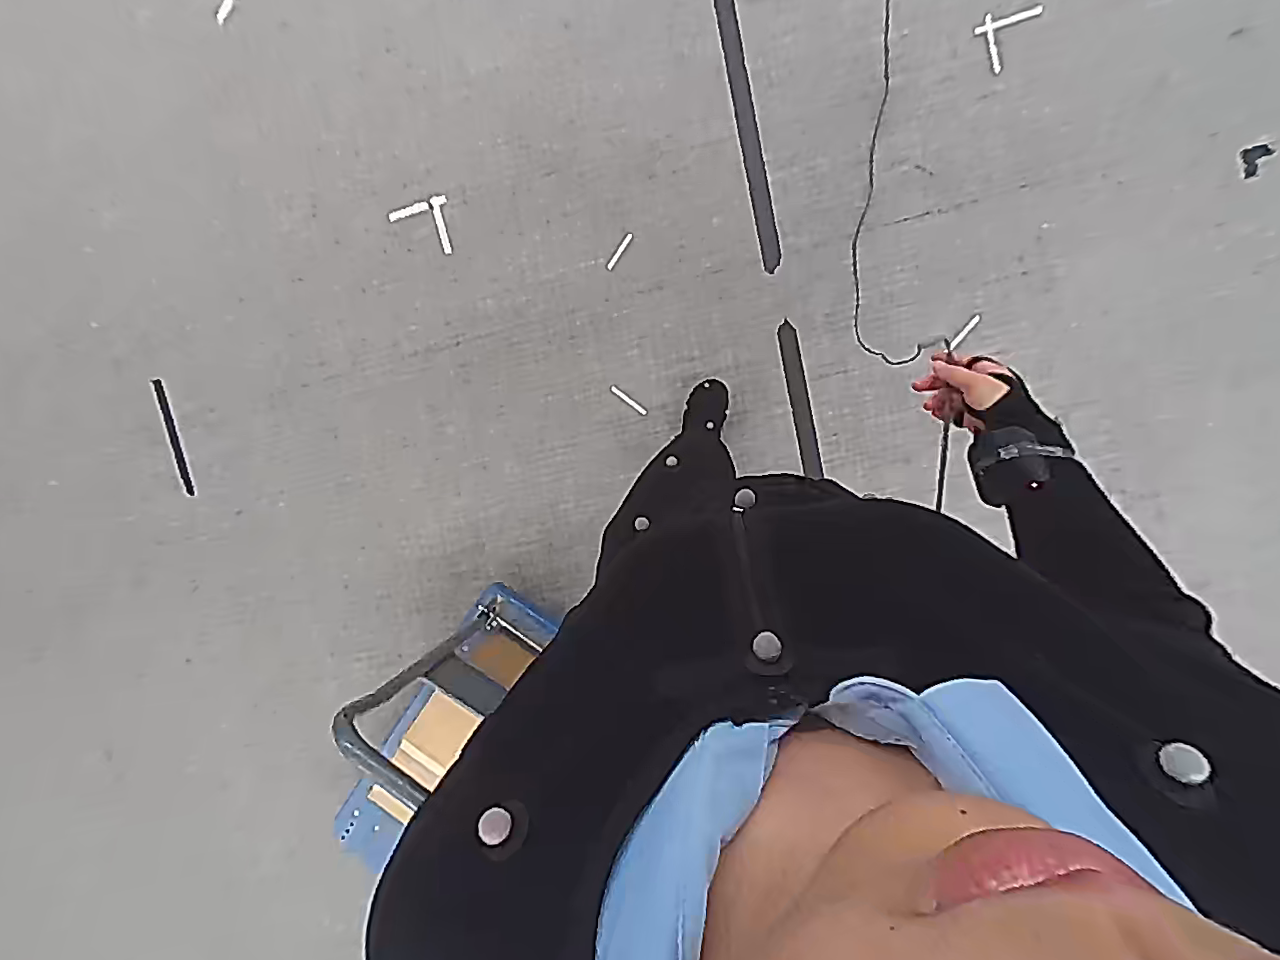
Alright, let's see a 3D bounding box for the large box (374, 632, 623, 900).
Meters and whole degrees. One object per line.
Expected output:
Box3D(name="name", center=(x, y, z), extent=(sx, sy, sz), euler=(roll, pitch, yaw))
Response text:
Box3D(name="large box", center=(-0.301, 0.633, 1.261), extent=(0.408, 0.320, 0.320), euler=(34, 97, 4))
